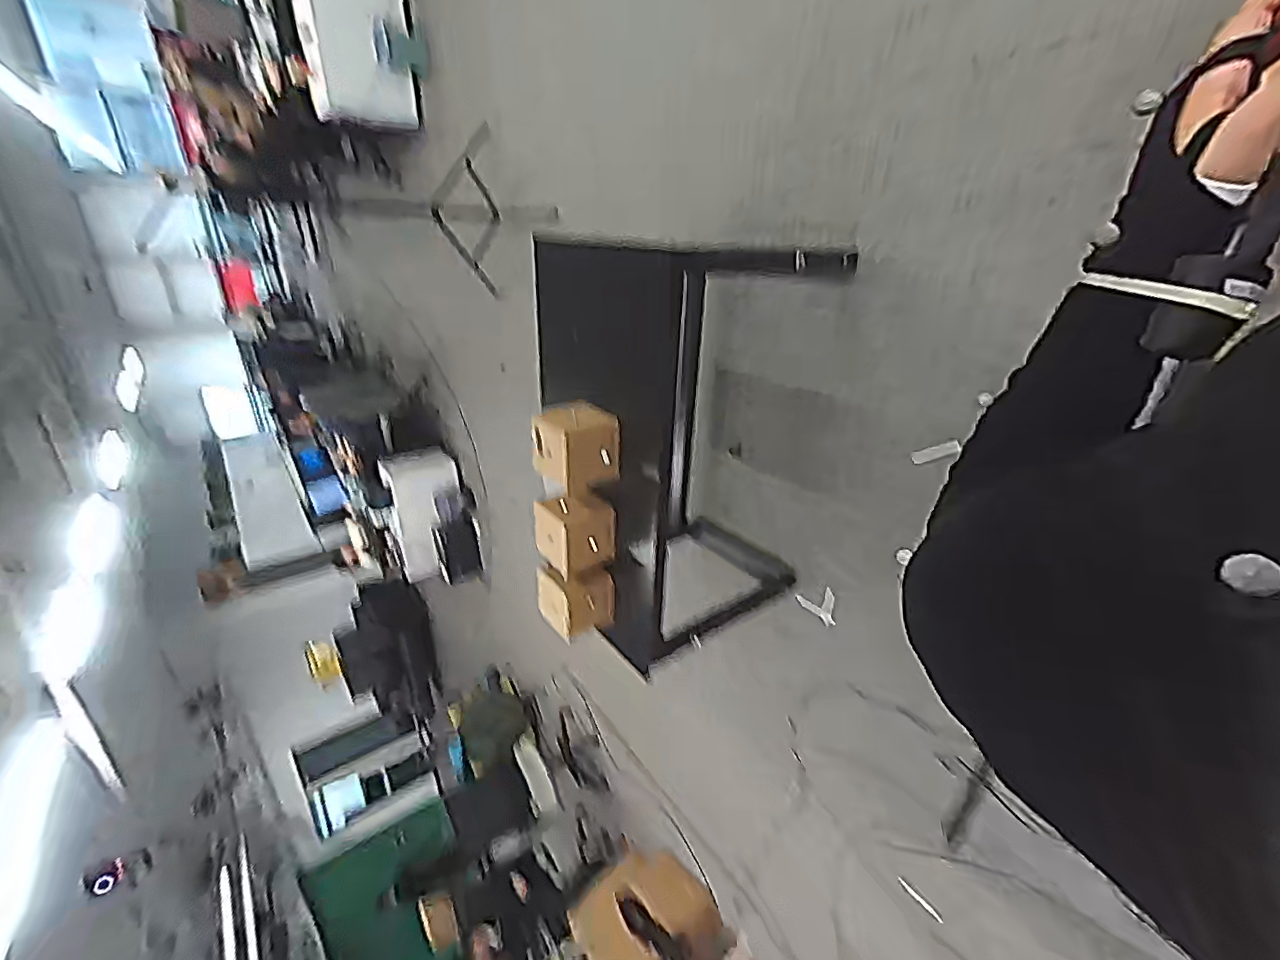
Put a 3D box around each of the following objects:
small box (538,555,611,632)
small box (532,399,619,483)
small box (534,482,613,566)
[{"bbox_3d":[-0.202,0.336,1.691,0.179,0.176,0.168,31,126,46],"label":"small box"},{"bbox_3d":[-0.175,-0.113,1.462,0.179,0.176,0.168,31,128,44],"label":"small box"},{"bbox_3d":[-0.193,0.121,1.584,0.179,0.176,0.168,32,127,45],"label":"small box"}]
